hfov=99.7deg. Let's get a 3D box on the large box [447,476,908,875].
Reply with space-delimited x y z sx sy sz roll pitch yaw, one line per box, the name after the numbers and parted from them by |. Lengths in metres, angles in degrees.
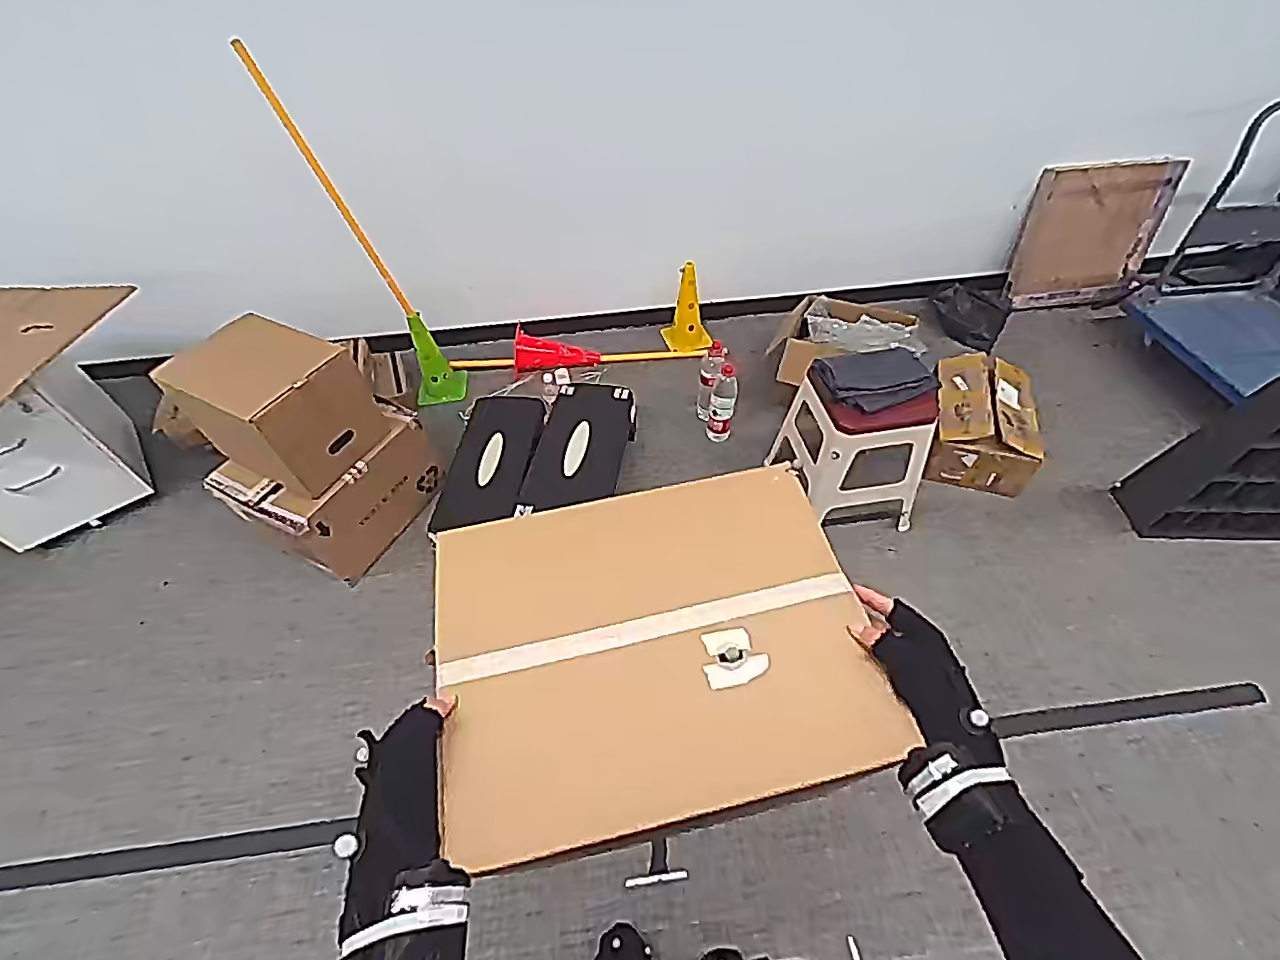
0.015 0.241 0.657 0.408 0.320 0.320 -11 56 -6 | large box
